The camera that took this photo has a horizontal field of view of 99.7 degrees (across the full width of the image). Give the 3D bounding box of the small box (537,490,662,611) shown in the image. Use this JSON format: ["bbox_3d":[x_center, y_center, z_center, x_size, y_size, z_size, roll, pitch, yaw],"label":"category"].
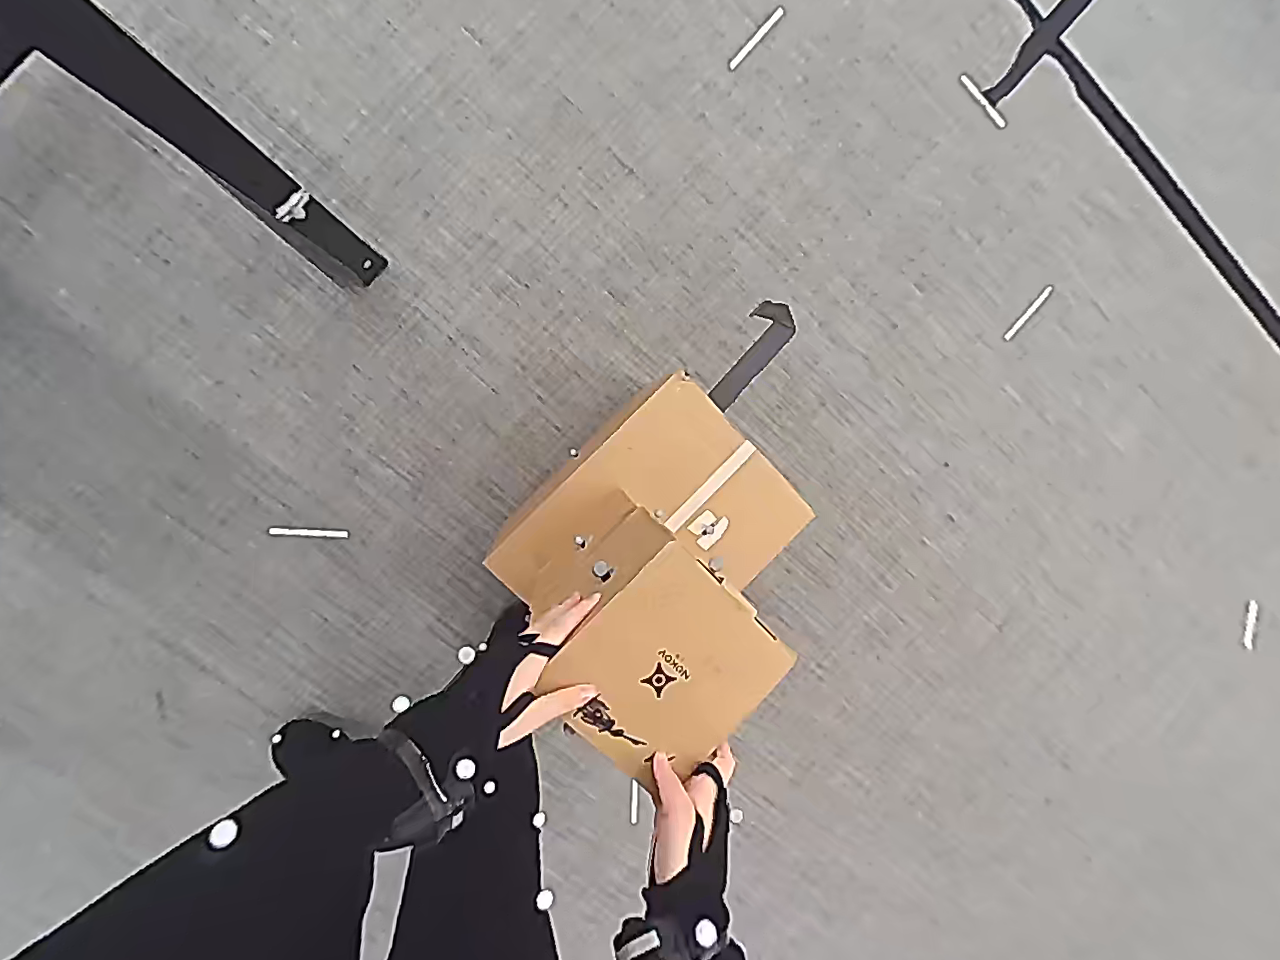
[{"bbox_3d":[-0.014,0.130,0.706,0.179,0.176,0.168,-44,98,-1],"label":"small box"}]

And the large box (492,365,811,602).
[{"bbox_3d":[0.004,0.065,0.951,0.408,0.320,0.320,-45,101,-2],"label":"large box"}]

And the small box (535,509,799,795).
[{"bbox_3d":[0.013,0.148,0.534,0.179,0.176,0.168,-44,101,-3],"label":"small box"}]
